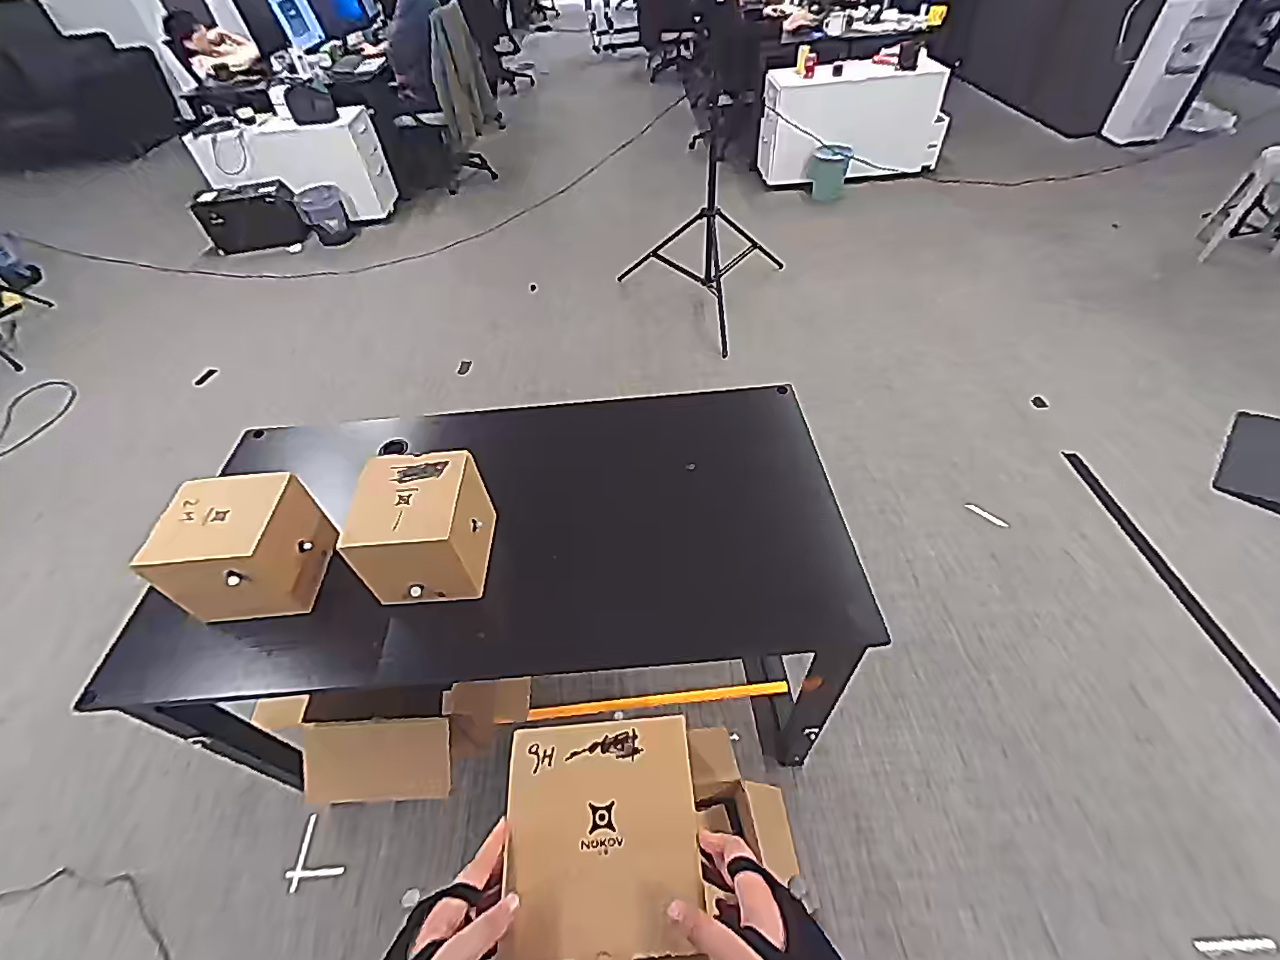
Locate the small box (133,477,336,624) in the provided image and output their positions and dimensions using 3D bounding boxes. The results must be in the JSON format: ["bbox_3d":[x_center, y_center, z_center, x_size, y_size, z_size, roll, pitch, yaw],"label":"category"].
[{"bbox_3d":[-0.631,0.116,0.874,0.179,0.176,0.168,-5,47,-1],"label":"small box"}]

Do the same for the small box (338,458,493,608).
[{"bbox_3d":[-0.348,0.087,0.879,0.168,0.176,0.179,-4,48,1],"label":"small box"}]

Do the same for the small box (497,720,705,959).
[{"bbox_3d":[-0.030,0.352,0.526,0.168,0.176,0.179,-5,52,0],"label":"small box"}]
